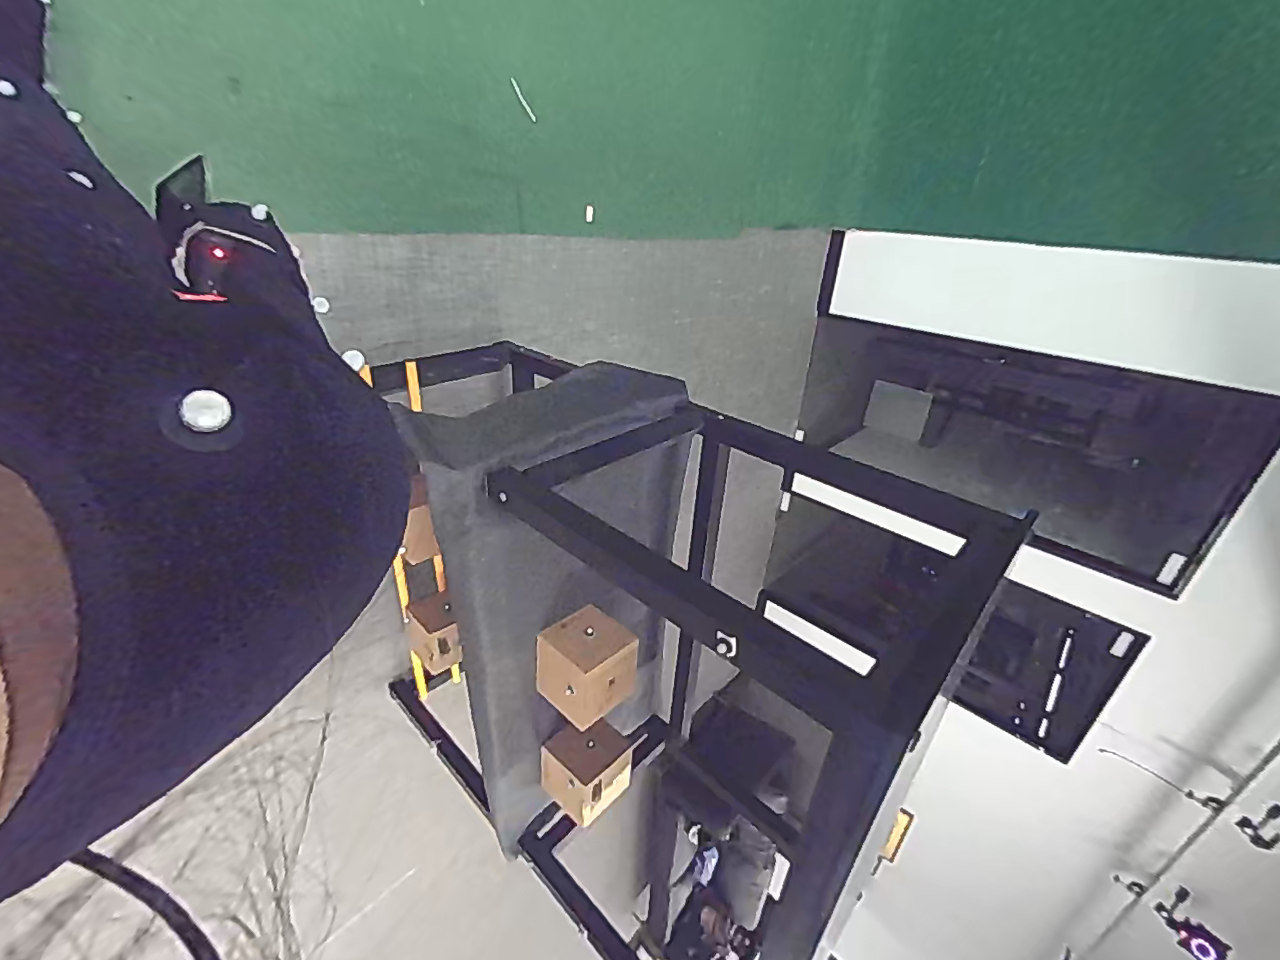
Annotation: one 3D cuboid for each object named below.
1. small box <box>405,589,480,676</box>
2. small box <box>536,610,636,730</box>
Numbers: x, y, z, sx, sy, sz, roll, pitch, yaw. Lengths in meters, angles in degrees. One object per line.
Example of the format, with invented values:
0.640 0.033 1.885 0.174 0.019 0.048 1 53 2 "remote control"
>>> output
-0.633 0.479 1.723 0.179 0.176 0.168 -21 126 -44 "small box"
-0.129 0.428 1.258 0.168 0.176 0.179 -21 126 -44 "small box"
